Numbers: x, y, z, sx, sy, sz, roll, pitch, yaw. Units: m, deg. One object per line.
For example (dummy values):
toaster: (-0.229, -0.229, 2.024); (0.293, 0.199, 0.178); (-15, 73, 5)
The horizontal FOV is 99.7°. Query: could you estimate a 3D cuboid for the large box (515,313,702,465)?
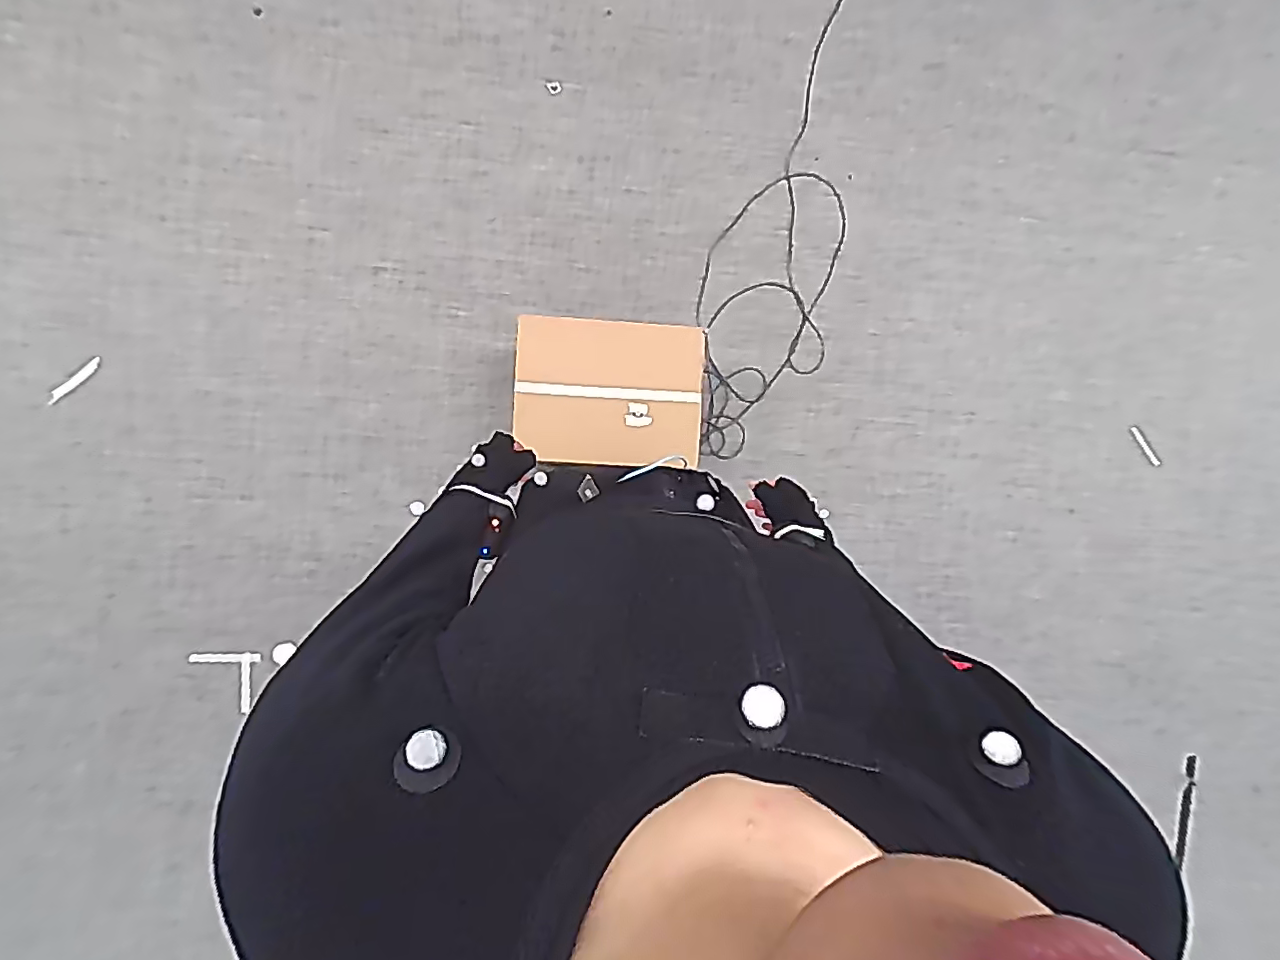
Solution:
large box: (-0.079, -0.200, 1.327); (0.408, 0.320, 0.320); (3, 91, -4)
